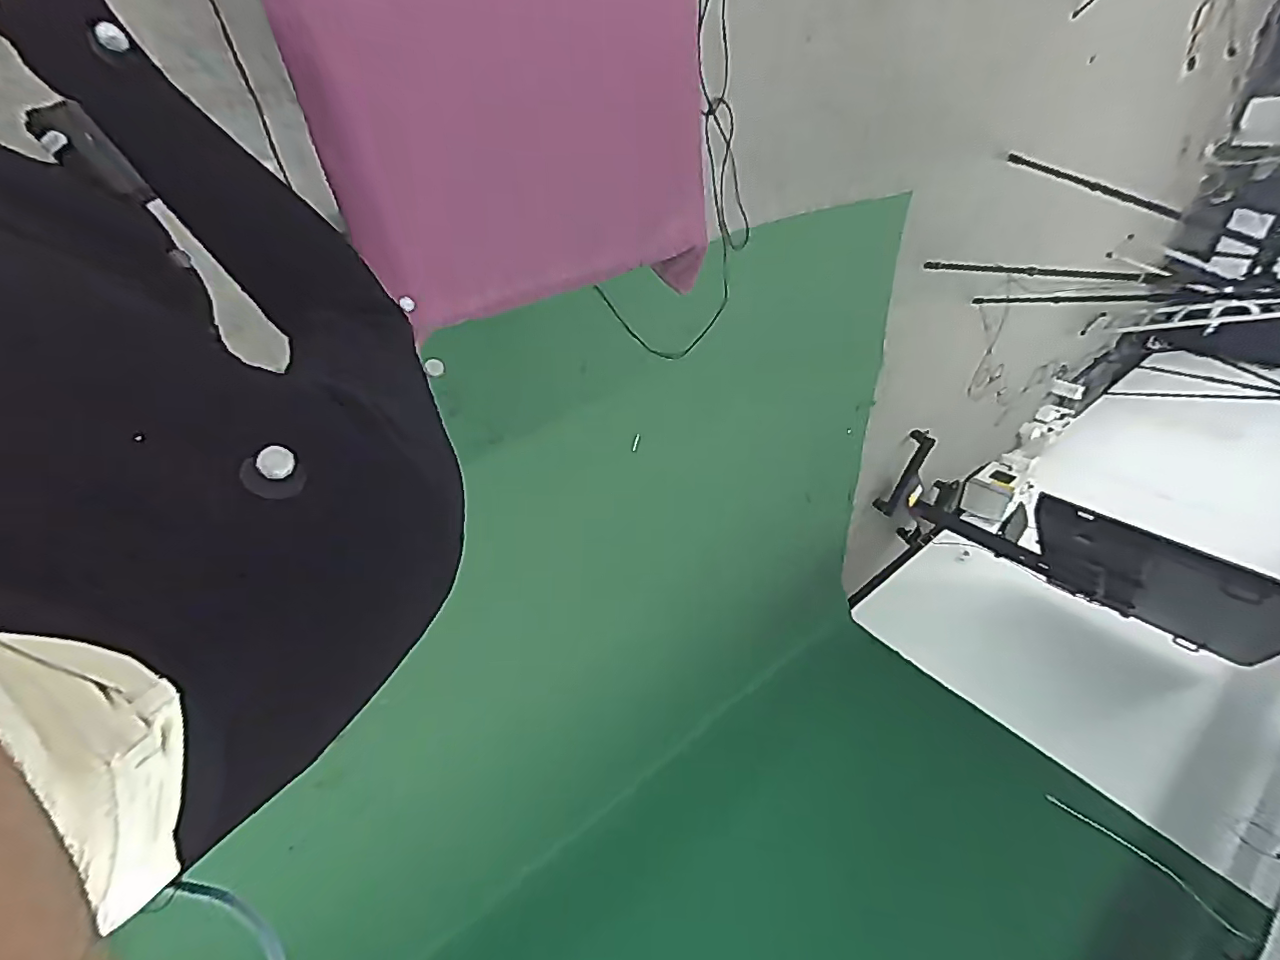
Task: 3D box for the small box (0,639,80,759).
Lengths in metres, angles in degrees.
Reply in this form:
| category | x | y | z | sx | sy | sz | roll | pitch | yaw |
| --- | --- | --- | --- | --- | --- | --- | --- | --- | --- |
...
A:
| category | x | y | z | sx | sy | sz | roll | pitch | yaw |
| --- | --- | --- | --- | --- | --- | --- | --- | --- | --- |
| small box | -1.463 | 0.510 | 1.257 | 0.168 | 0.176 | 0.179 | -26 | 129 | -27 |
